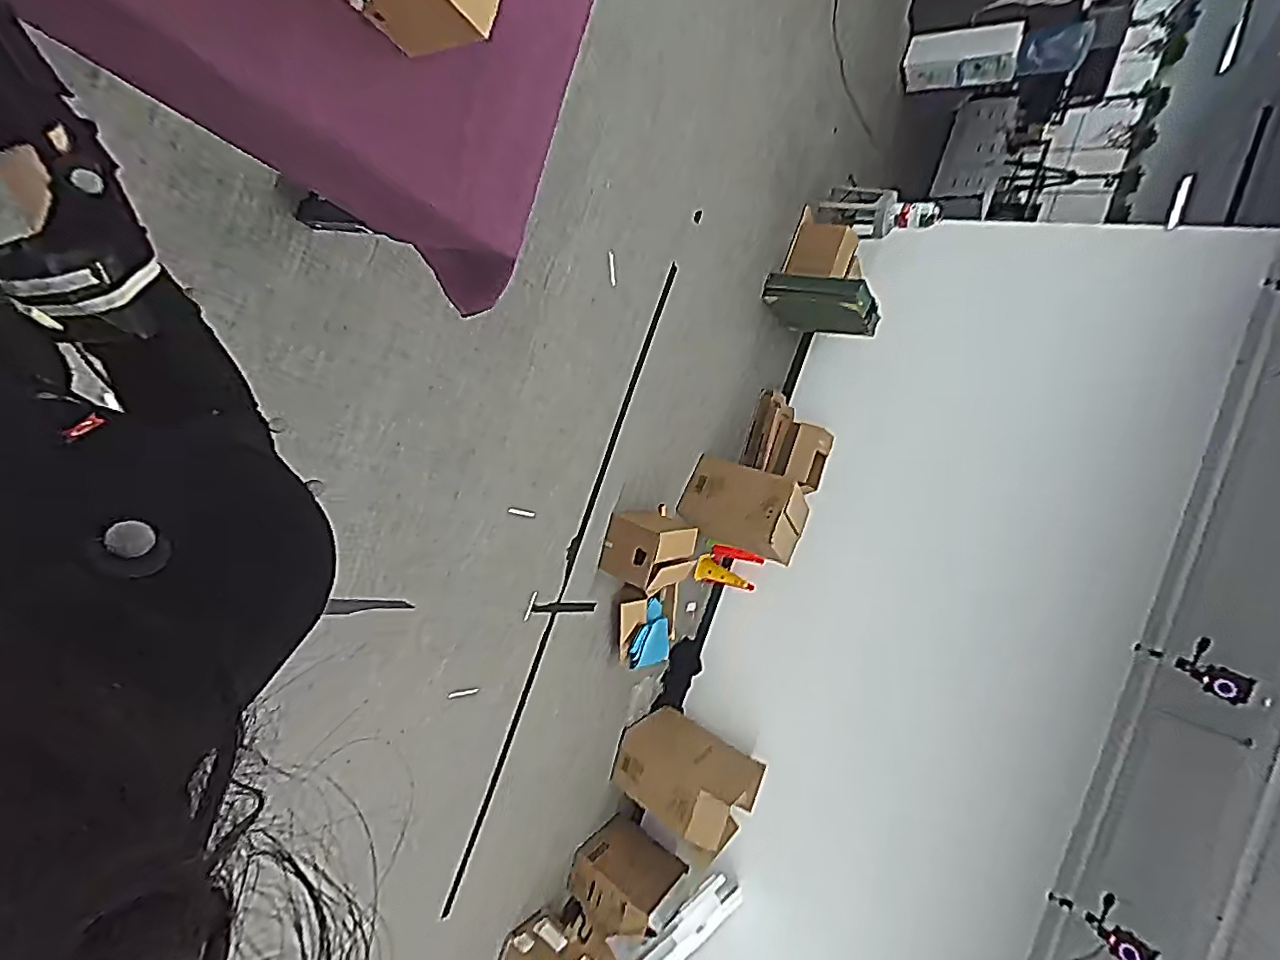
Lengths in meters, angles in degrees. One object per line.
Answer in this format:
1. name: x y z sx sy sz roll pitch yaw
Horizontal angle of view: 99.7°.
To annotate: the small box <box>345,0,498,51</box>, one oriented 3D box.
1. small box: -0.267 -0.646 0.623 0.168 0.176 0.179 12 96 -58
